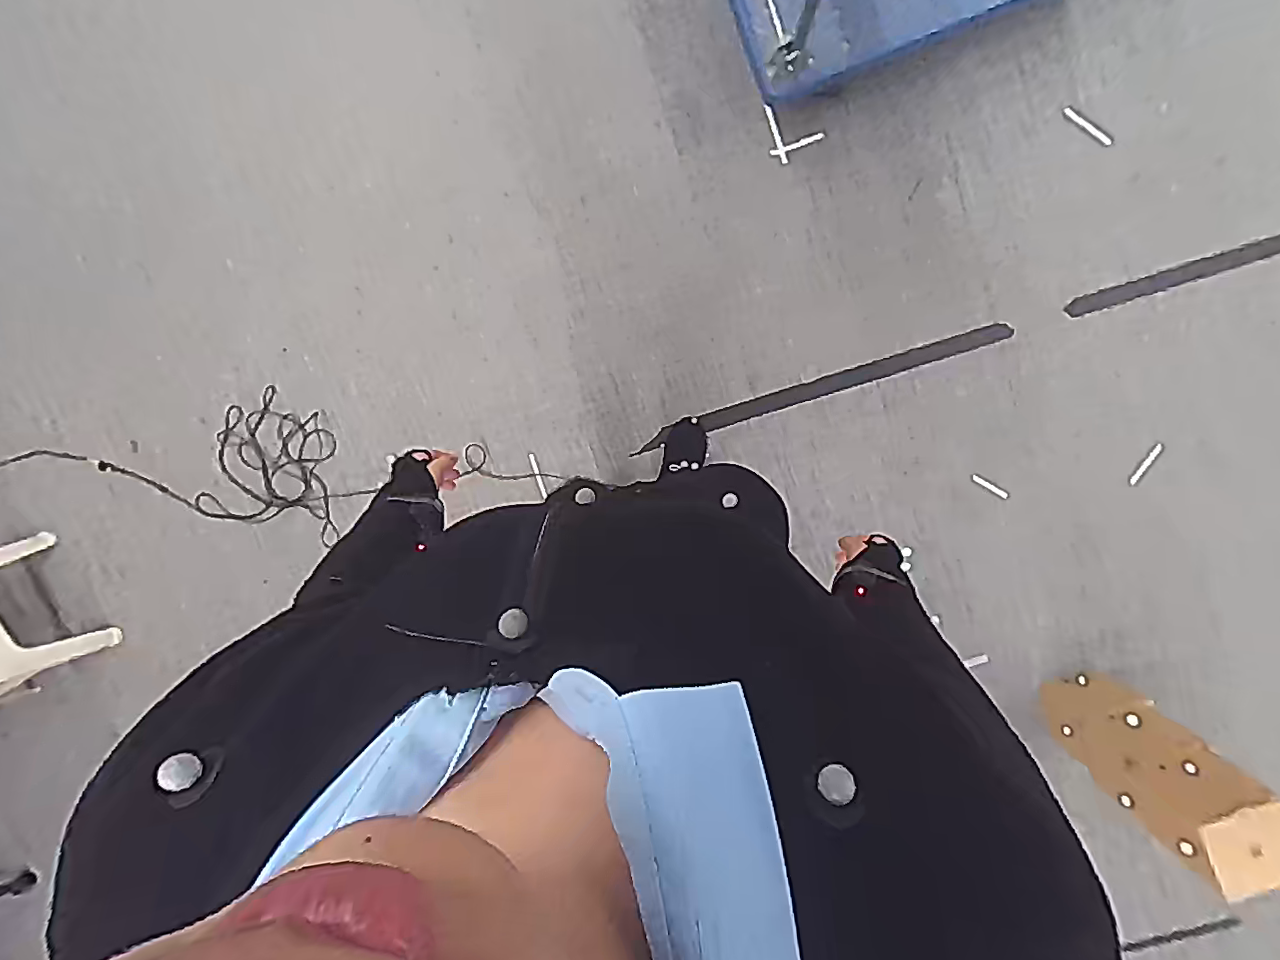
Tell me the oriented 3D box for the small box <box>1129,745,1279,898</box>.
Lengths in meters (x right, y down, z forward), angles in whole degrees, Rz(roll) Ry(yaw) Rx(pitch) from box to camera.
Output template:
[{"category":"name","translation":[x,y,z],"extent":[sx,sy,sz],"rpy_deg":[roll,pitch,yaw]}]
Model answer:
[{"category":"small box","translation":[1.169,0.686,1.103],"extent":[0.168,0.176,0.179],"rpy_deg":[-26,95,6]}]

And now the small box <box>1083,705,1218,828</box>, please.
[{"category":"small box","translation":[1.189,0.661,1.263],"extent":[0.168,0.176,0.179],"rpy_deg":[-14,96,4]}]
